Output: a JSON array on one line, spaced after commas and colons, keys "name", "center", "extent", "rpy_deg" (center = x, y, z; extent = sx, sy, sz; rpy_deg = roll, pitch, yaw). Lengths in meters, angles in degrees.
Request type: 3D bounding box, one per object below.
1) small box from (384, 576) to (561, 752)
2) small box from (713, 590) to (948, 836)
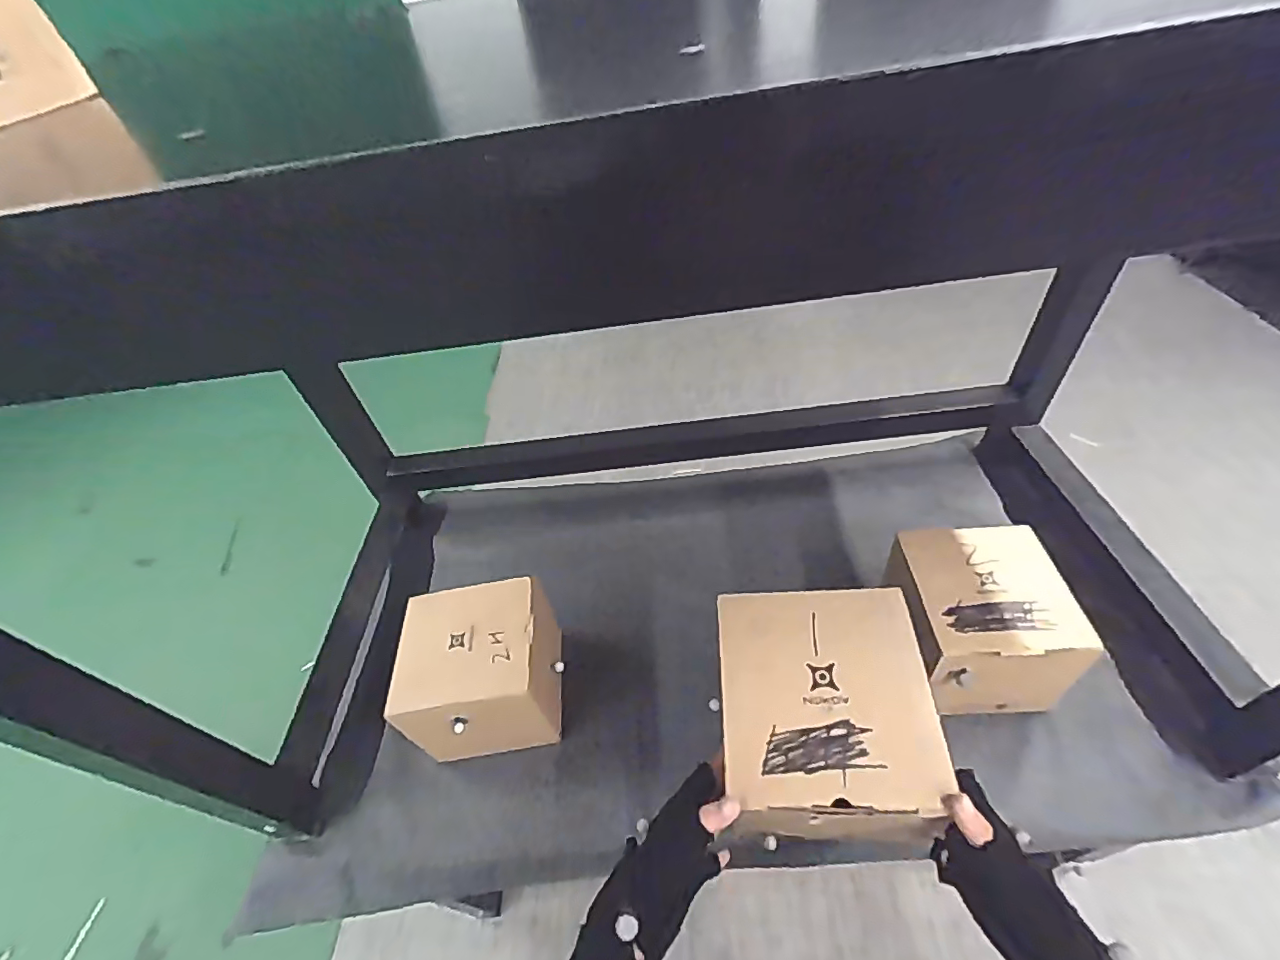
[{"name": "small box", "center": [-0.215, 0.258, 0.748], "extent": [0.179, 0.176, 0.168], "rpy_deg": [-9, 46, 1]}, {"name": "small box", "center": [0.158, 0.220, 0.504], "extent": [0.168, 0.176, 0.179], "rpy_deg": [-3, 51, 9]}]
